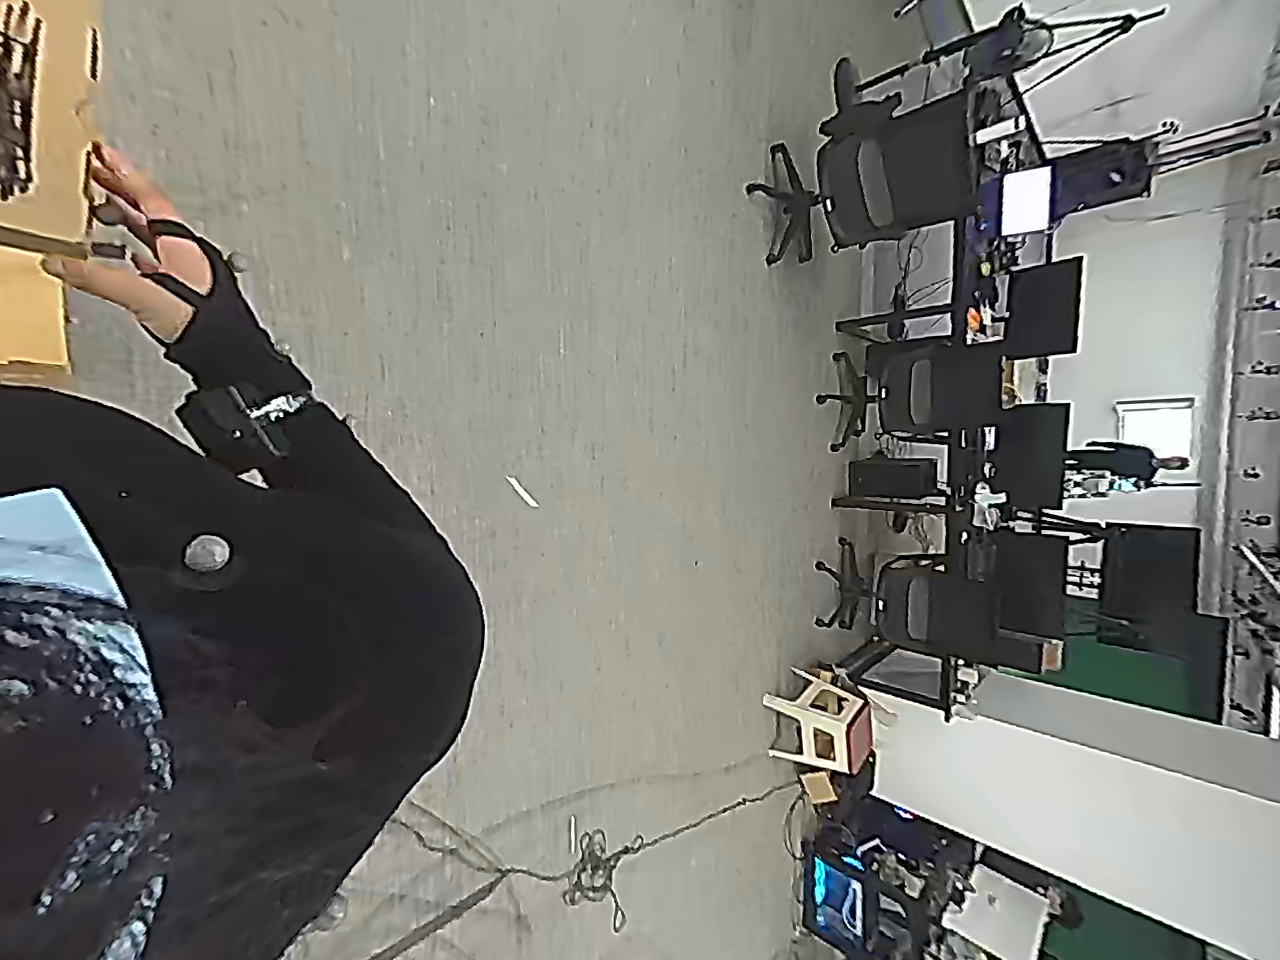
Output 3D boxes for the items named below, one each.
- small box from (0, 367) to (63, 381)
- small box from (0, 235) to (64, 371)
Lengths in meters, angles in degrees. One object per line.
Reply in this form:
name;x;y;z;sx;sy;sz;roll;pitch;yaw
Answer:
small box;-1.116;-0.265;0.924;0.168;0.176;0.179;-7;97;-47
small box;-0.995;-0.267;0.815;0.168;0.176;0.179;-4;96;-46
